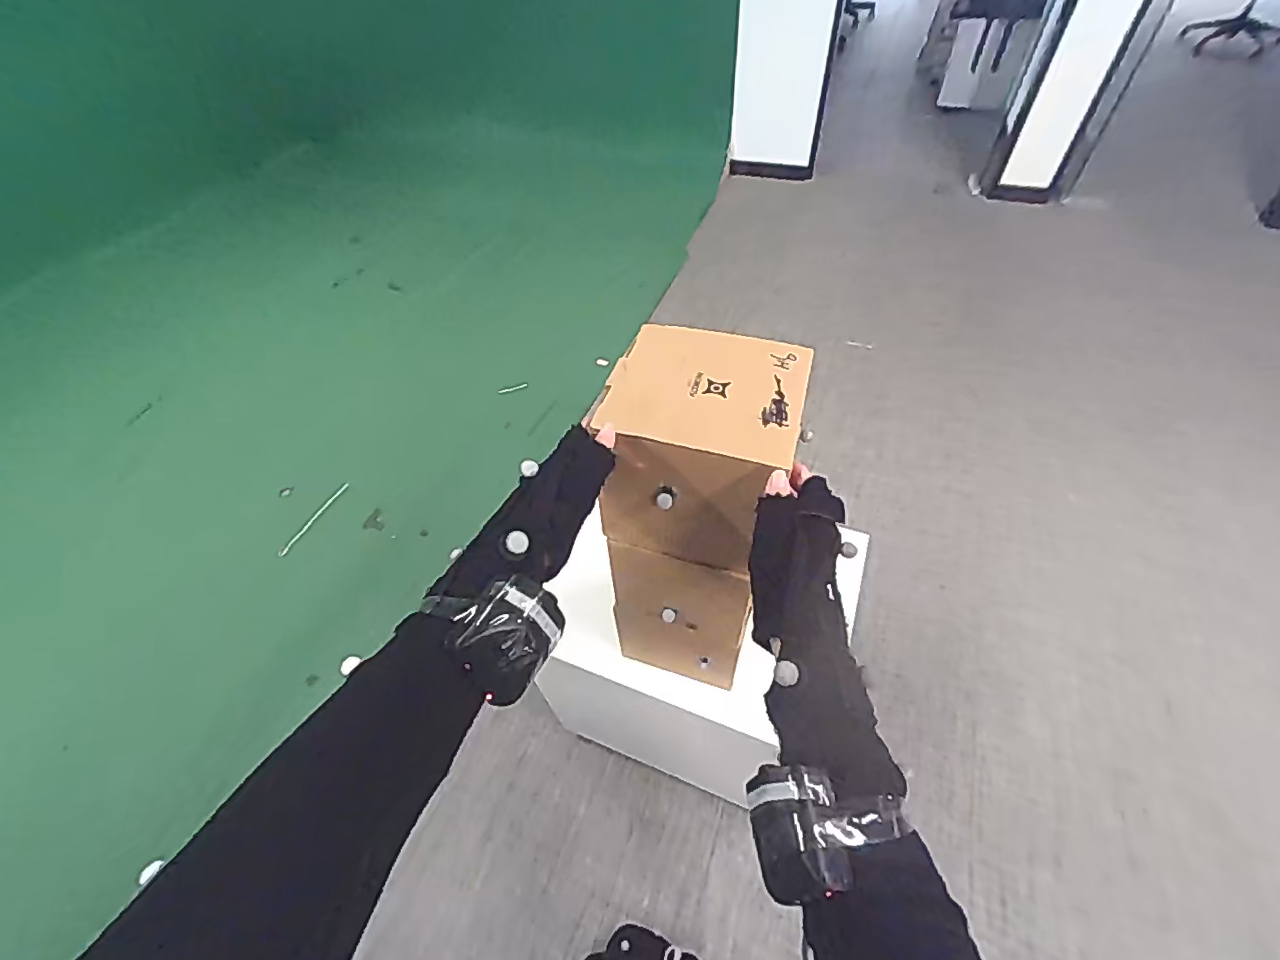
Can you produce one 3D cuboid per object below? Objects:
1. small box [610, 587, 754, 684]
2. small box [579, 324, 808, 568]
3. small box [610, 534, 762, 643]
[{"bbox_3d":[0.074,0.181,0.797,0.179,0.176,0.168,12,52,16],"label":"small box"},{"bbox_3d":[0.058,-0.032,0.547,0.179,0.176,0.168,12,52,14],"label":"small box"},{"bbox_3d":[0.071,0.072,0.674,0.168,0.176,0.179,12,50,13],"label":"small box"}]
